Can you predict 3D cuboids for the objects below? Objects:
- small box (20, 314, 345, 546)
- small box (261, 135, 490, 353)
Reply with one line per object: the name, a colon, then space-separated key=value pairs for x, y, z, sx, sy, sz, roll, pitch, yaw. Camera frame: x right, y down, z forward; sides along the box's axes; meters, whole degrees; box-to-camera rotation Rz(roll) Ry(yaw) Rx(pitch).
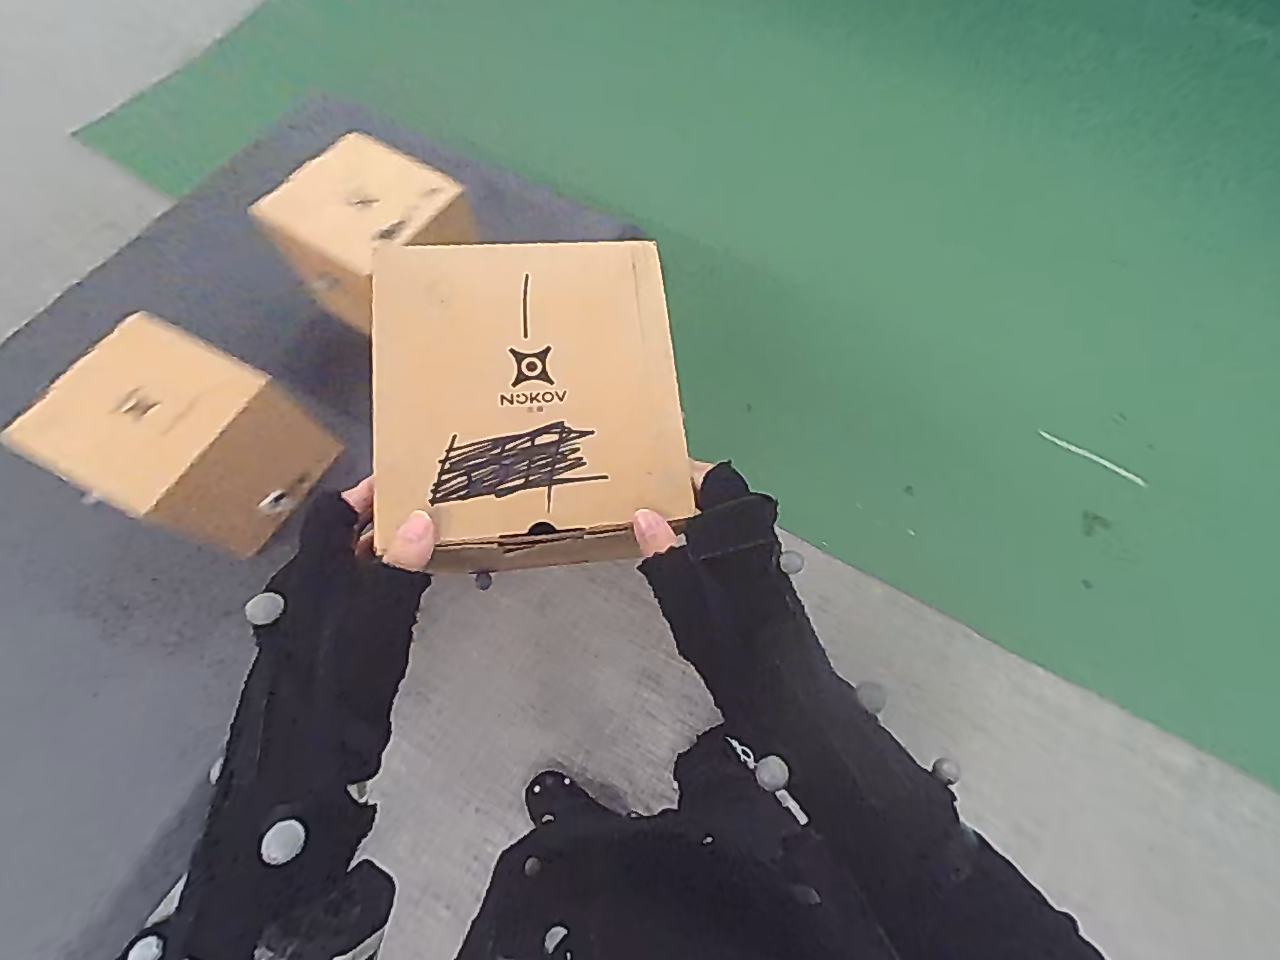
small box: x=-0.482 y=-0.044 z=0.604 sx=0.179 sy=0.176 sz=0.168 roll=25 pitch=71 yaw=7
small box: x=-0.328 y=-0.298 z=0.710 sx=0.179 sy=0.176 sz=0.168 roll=30 pitch=71 yaw=10
